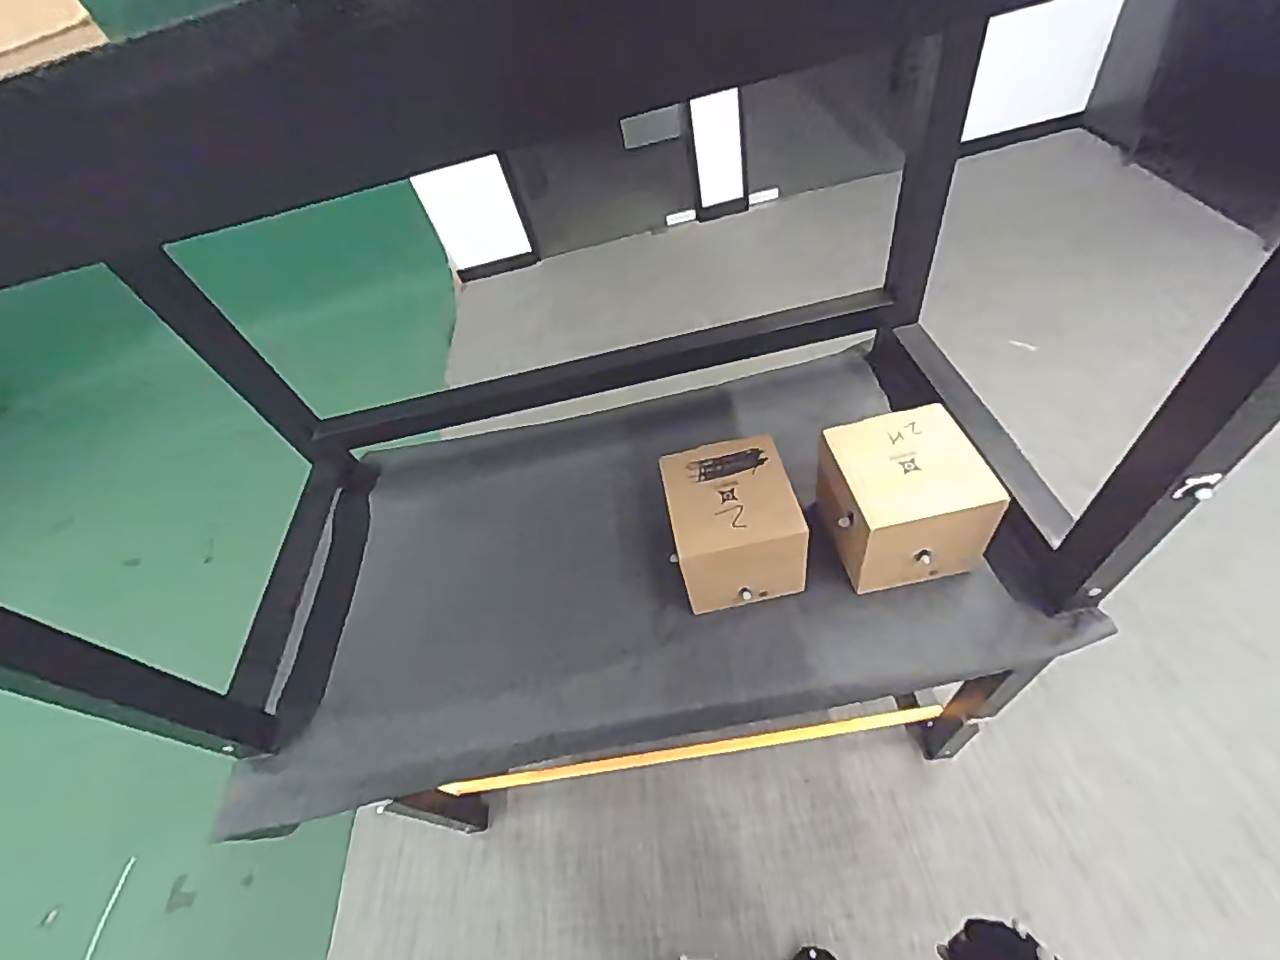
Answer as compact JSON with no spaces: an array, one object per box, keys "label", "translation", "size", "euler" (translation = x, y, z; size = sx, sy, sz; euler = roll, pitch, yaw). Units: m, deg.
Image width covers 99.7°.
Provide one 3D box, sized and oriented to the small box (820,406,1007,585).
[{"label":"small box","translation":[0.361,0.030,0.753],"size":[0.168,0.176,0.179],"euler":[-13,49,4]}]
